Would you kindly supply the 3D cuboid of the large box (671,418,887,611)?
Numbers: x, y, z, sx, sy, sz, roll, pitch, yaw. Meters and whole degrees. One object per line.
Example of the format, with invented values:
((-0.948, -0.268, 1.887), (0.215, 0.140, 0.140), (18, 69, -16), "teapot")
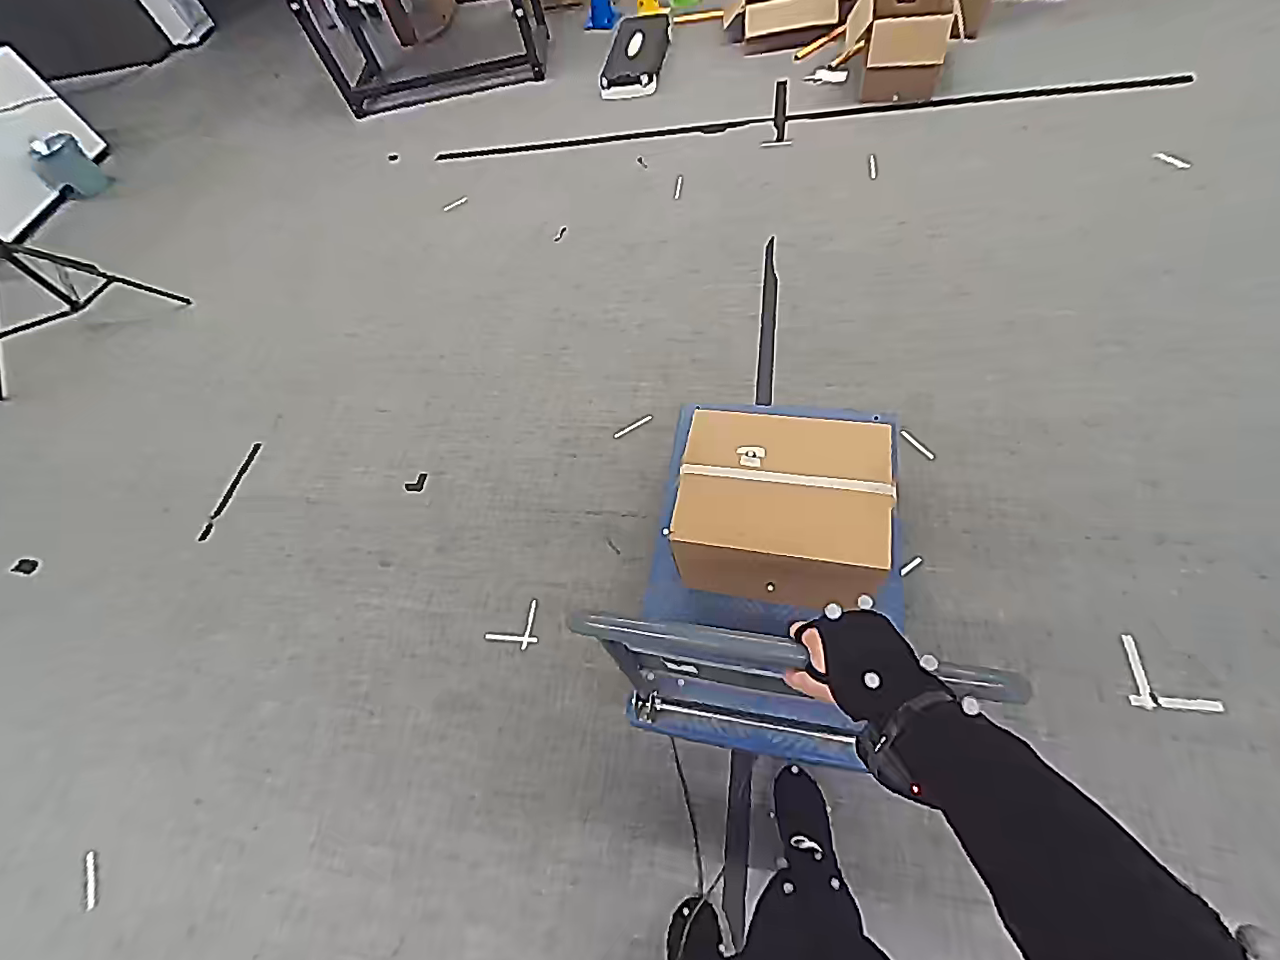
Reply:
((0.309, 0.083, 1.212), (0.408, 0.320, 0.320), (6, 61, 15), "large box")
